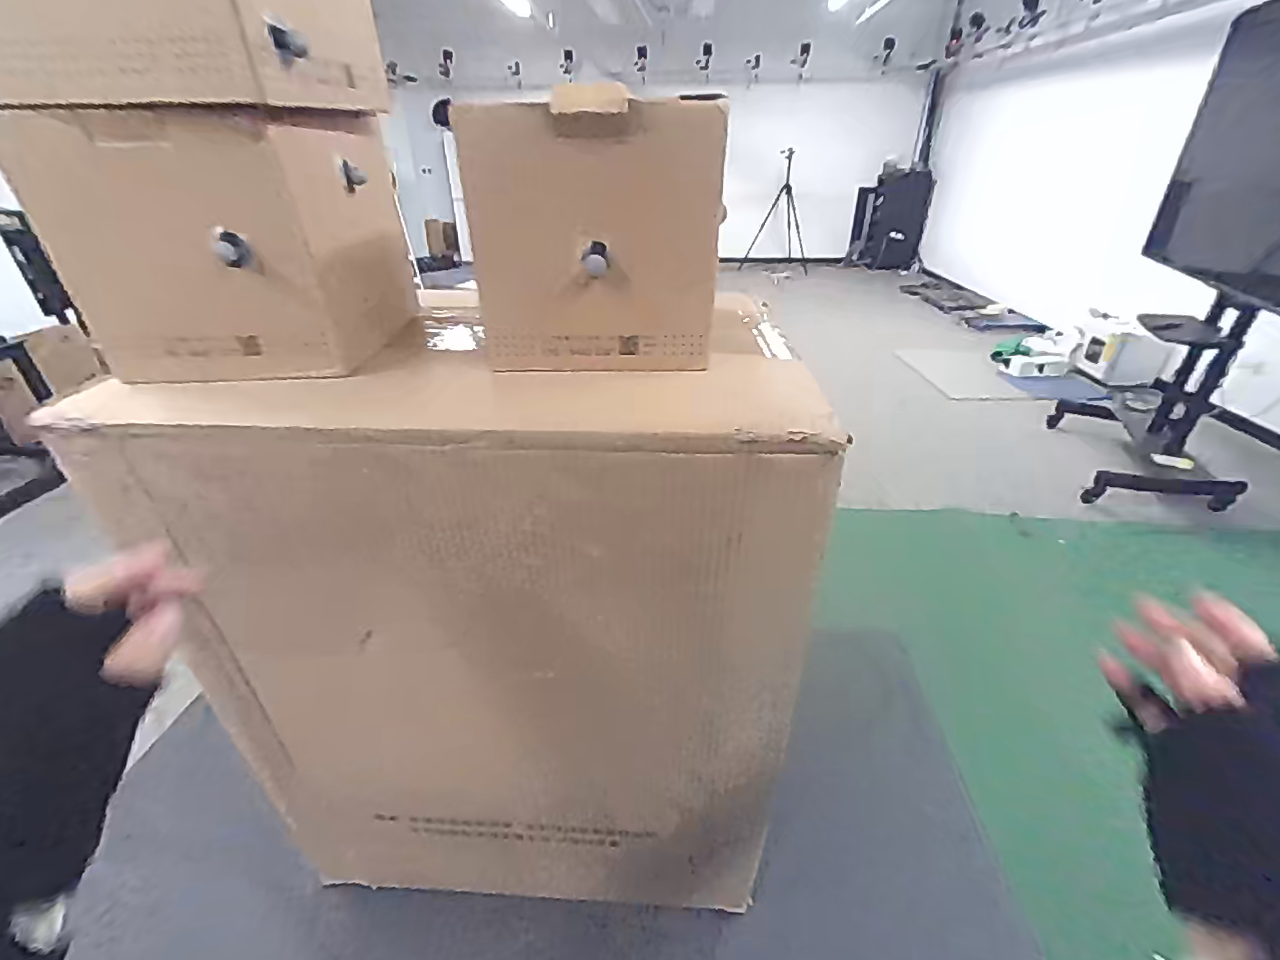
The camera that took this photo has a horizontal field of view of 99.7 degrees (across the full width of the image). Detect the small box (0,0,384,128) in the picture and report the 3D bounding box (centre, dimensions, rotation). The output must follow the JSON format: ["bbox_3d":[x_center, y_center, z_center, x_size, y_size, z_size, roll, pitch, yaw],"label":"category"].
[{"bbox_3d":[-0.289,-0.313,0.331,0.179,0.176,0.168,0,33,3],"label":"small box"}]

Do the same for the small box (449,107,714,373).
[{"bbox_3d":[-0.033,-0.194,0.436,0.168,0.176,0.179,-1,34,0],"label":"small box"}]

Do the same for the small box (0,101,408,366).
[{"bbox_3d":[-0.300,-0.194,0.420,0.168,0.176,0.179,-4,34,-4],"label":"small box"}]
